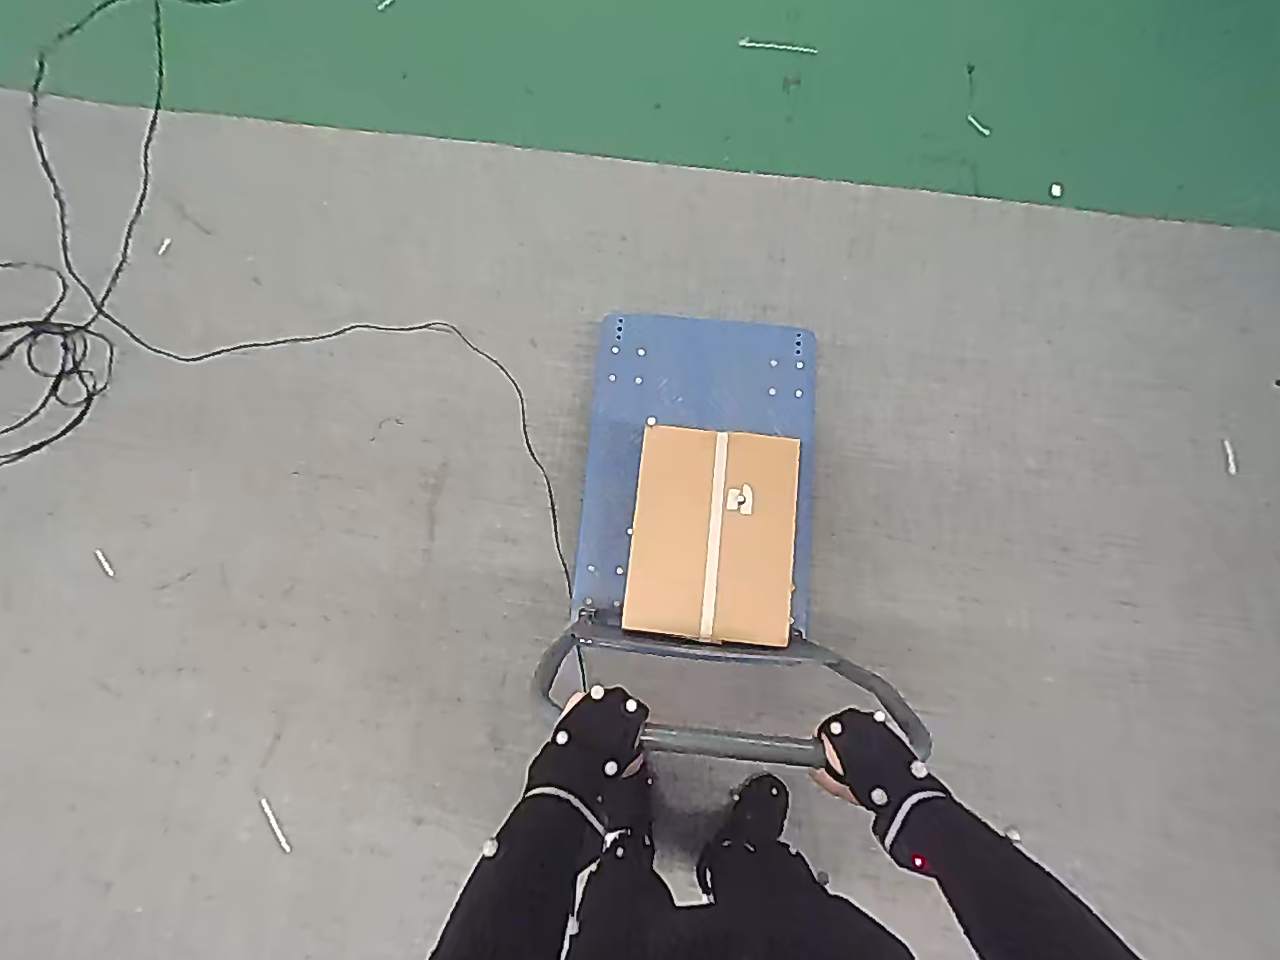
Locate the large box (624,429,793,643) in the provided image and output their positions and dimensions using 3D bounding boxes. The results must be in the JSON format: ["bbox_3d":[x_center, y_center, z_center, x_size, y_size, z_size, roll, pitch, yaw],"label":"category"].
[{"bbox_3d":[0.143,0.132,1.199,0.320,0.320,0.408,6,78,2],"label":"large box"}]
